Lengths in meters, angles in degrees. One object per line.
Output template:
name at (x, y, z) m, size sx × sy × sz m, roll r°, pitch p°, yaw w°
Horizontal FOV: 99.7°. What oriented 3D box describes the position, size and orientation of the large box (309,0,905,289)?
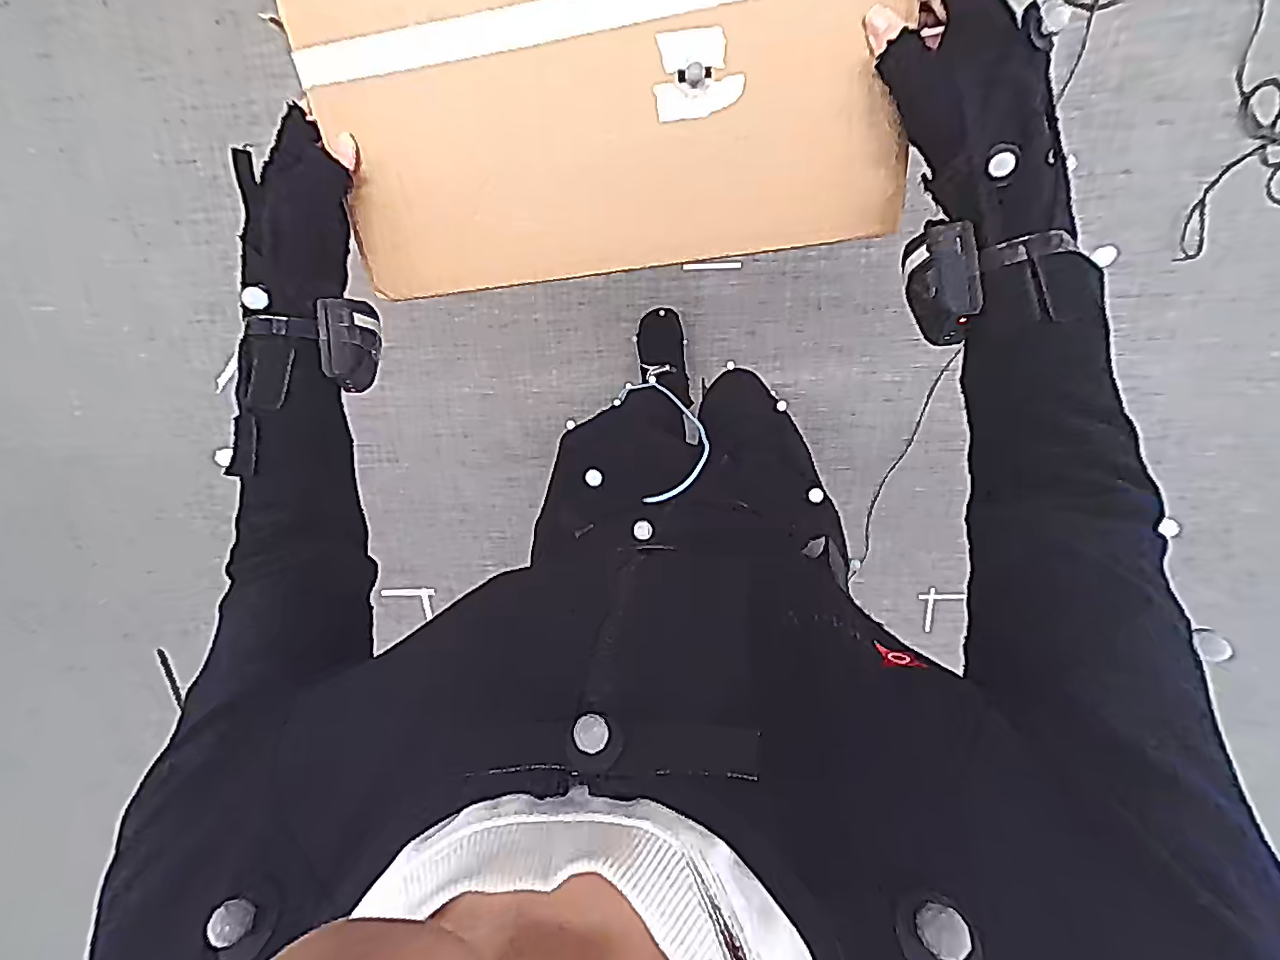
large box at (-0.018, -0.379, 0.496) m, size 0.408 × 0.320 × 0.320 m, roll -5°, pitch 116°, yaw 7°
